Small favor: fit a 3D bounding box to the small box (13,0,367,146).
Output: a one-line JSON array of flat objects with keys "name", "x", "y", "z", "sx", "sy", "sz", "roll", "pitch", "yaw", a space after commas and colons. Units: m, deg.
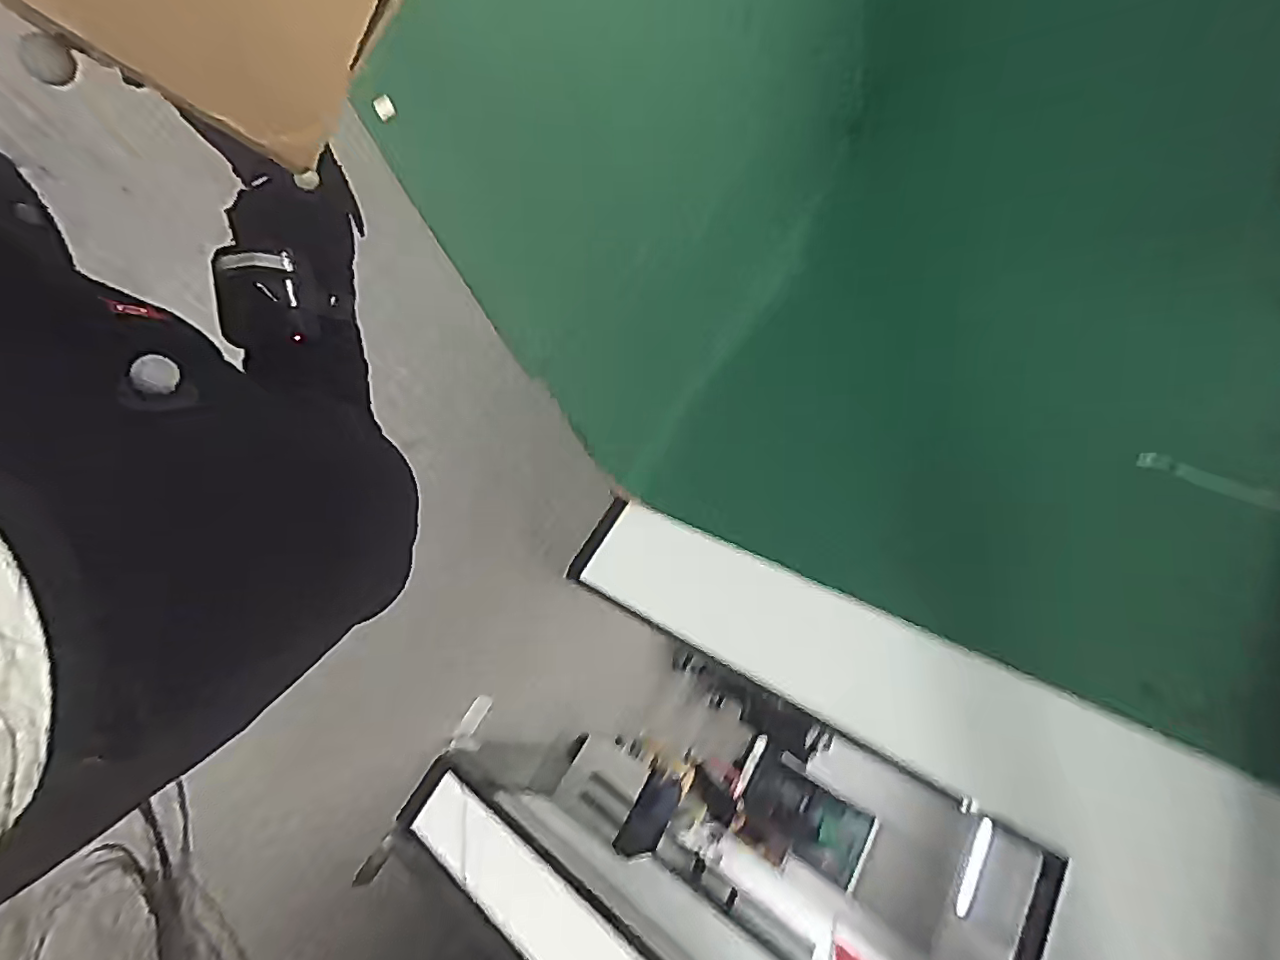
[{"name": "small box", "x": -0.161, "y": -0.214, "z": 0.109, "sx": 0.179, "sy": 0.176, "sz": 0.168, "roll": 9, "pitch": 112, "yaw": -58}]
